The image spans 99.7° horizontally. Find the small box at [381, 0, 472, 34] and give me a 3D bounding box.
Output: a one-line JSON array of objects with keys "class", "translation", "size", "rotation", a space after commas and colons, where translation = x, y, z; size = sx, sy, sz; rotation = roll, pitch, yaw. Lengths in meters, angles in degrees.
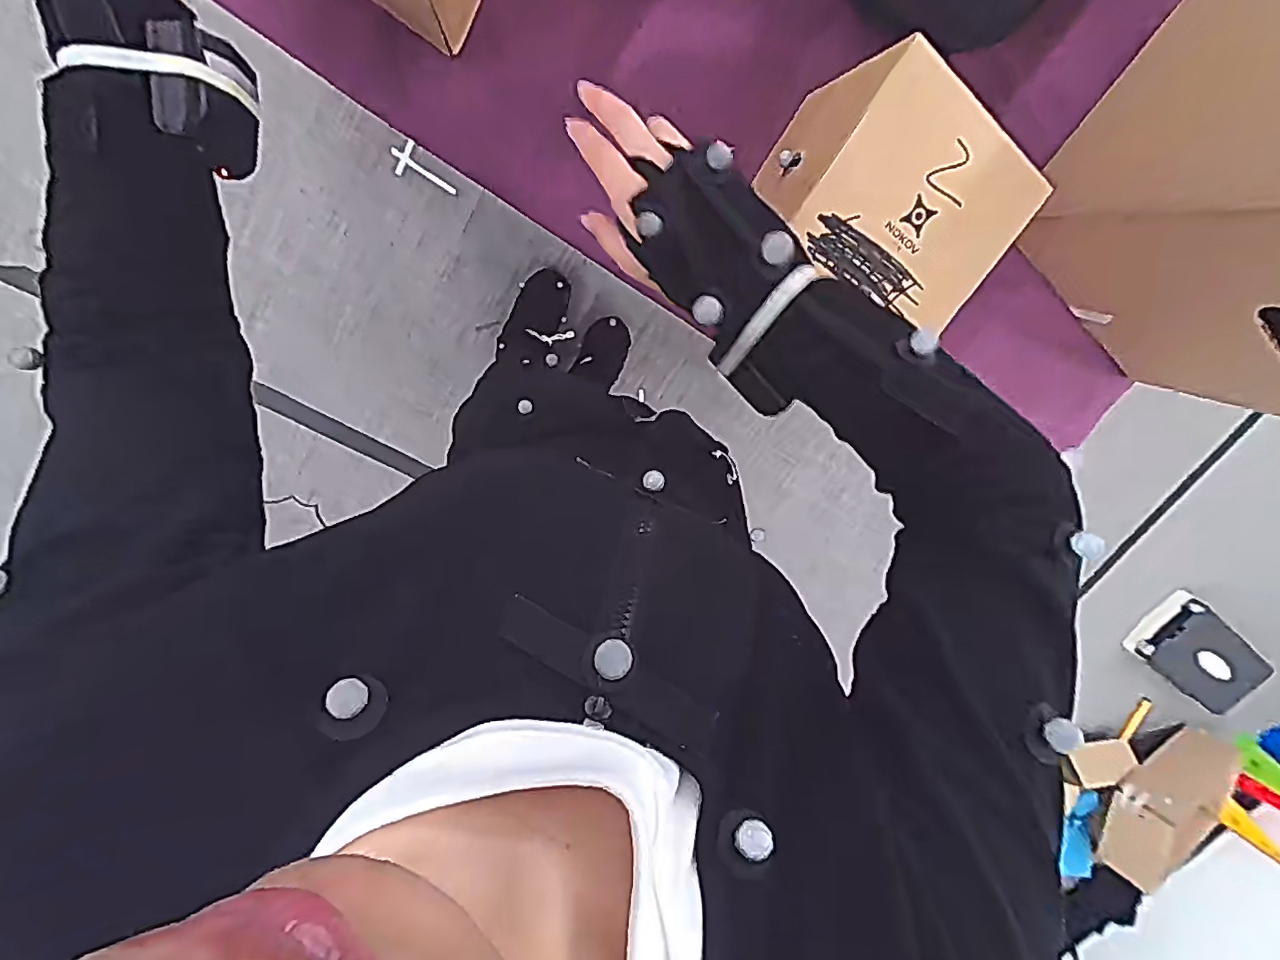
[{"class": "small box", "translation": [-0.174, -0.430, 0.329], "size": [0.179, 0.176, 0.168], "rotation": [26, 105, -21]}]
